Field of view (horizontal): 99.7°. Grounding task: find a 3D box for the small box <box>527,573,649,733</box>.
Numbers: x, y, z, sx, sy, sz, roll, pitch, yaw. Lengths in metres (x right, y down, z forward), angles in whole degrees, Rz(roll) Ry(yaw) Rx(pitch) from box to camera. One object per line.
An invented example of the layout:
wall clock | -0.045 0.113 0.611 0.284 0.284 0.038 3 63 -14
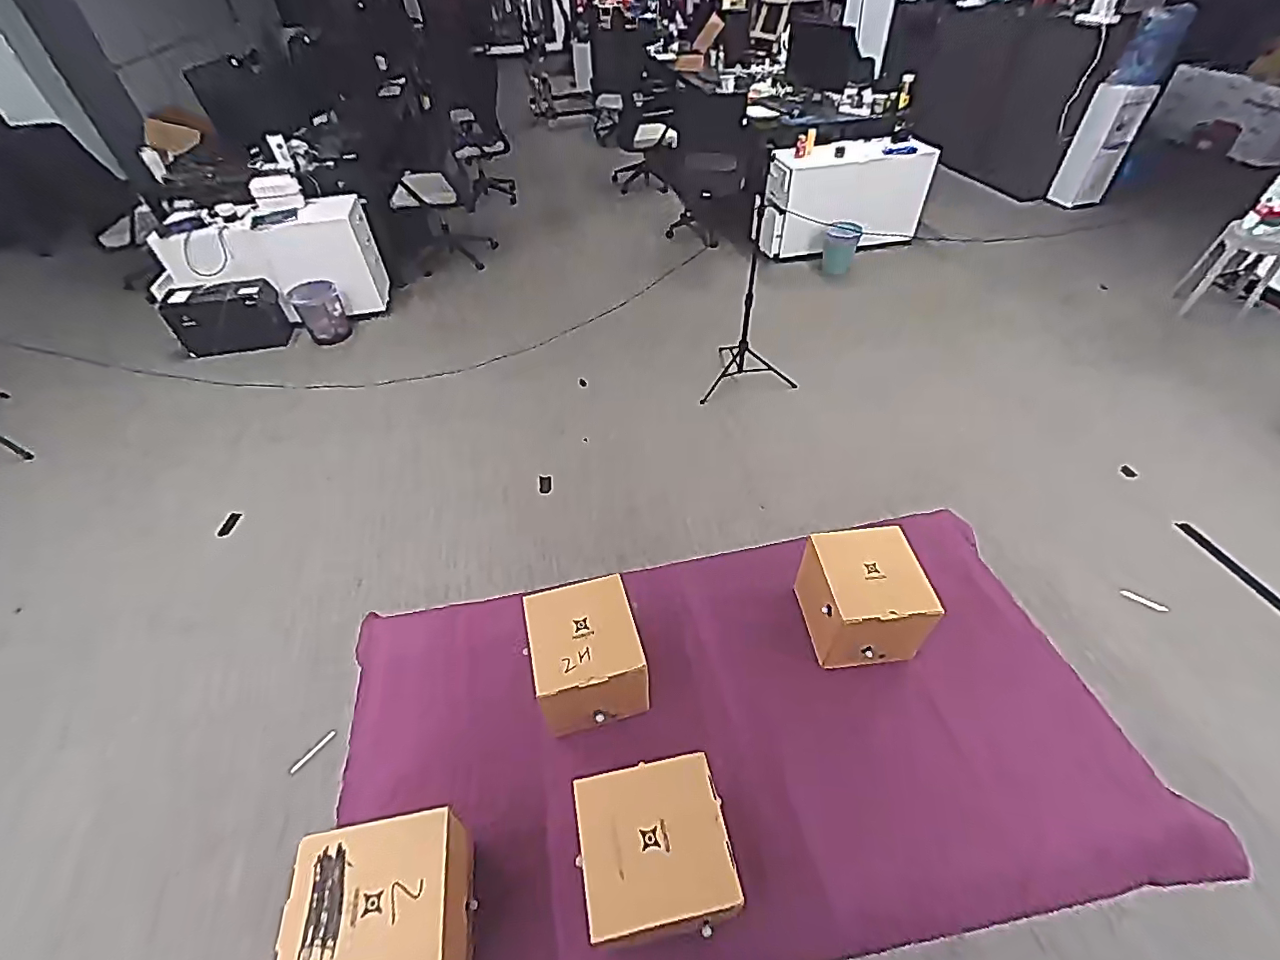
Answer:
small box | -0.086 0.286 0.897 0.168 0.176 0.179 -12 46 -9

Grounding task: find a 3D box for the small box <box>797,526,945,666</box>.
small box | 0.391 0.205 0.957 0.168 0.176 0.179 -6 46 -2

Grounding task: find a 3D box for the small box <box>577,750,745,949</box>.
small box | 0.019 0.477 0.699 0.179 0.176 0.168 -9 45 -7
